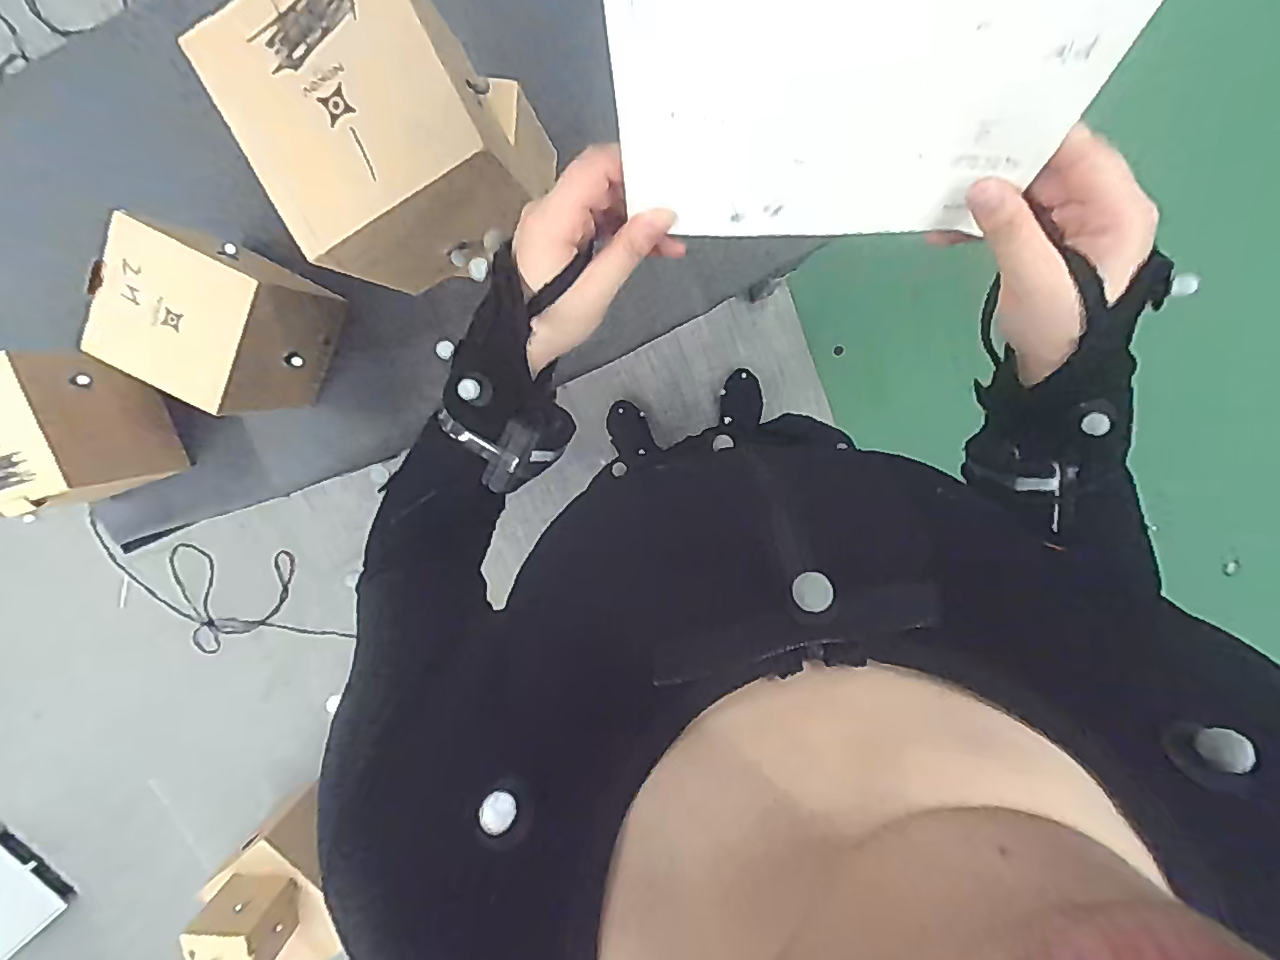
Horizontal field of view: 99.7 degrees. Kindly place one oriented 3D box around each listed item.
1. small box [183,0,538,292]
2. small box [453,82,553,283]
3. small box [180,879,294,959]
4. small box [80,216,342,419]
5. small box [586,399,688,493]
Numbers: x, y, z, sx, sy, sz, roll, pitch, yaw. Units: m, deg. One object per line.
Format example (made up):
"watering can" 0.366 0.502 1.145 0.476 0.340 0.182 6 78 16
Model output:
"small box" -0.213 -0.287 0.465 0.168 0.176 0.179 -26 97 10
"small box" -0.206 -0.331 0.624 0.179 0.176 0.168 7 101 5
"small box" -1.051 1.198 1.430 0.179 0.176 0.168 0 101 3
"small box" -0.517 -0.193 0.677 0.179 0.176 0.168 27 101 0
"small box" -0.003 -0.085 1.379 0.176 0.168 0.179 29 77 -30
